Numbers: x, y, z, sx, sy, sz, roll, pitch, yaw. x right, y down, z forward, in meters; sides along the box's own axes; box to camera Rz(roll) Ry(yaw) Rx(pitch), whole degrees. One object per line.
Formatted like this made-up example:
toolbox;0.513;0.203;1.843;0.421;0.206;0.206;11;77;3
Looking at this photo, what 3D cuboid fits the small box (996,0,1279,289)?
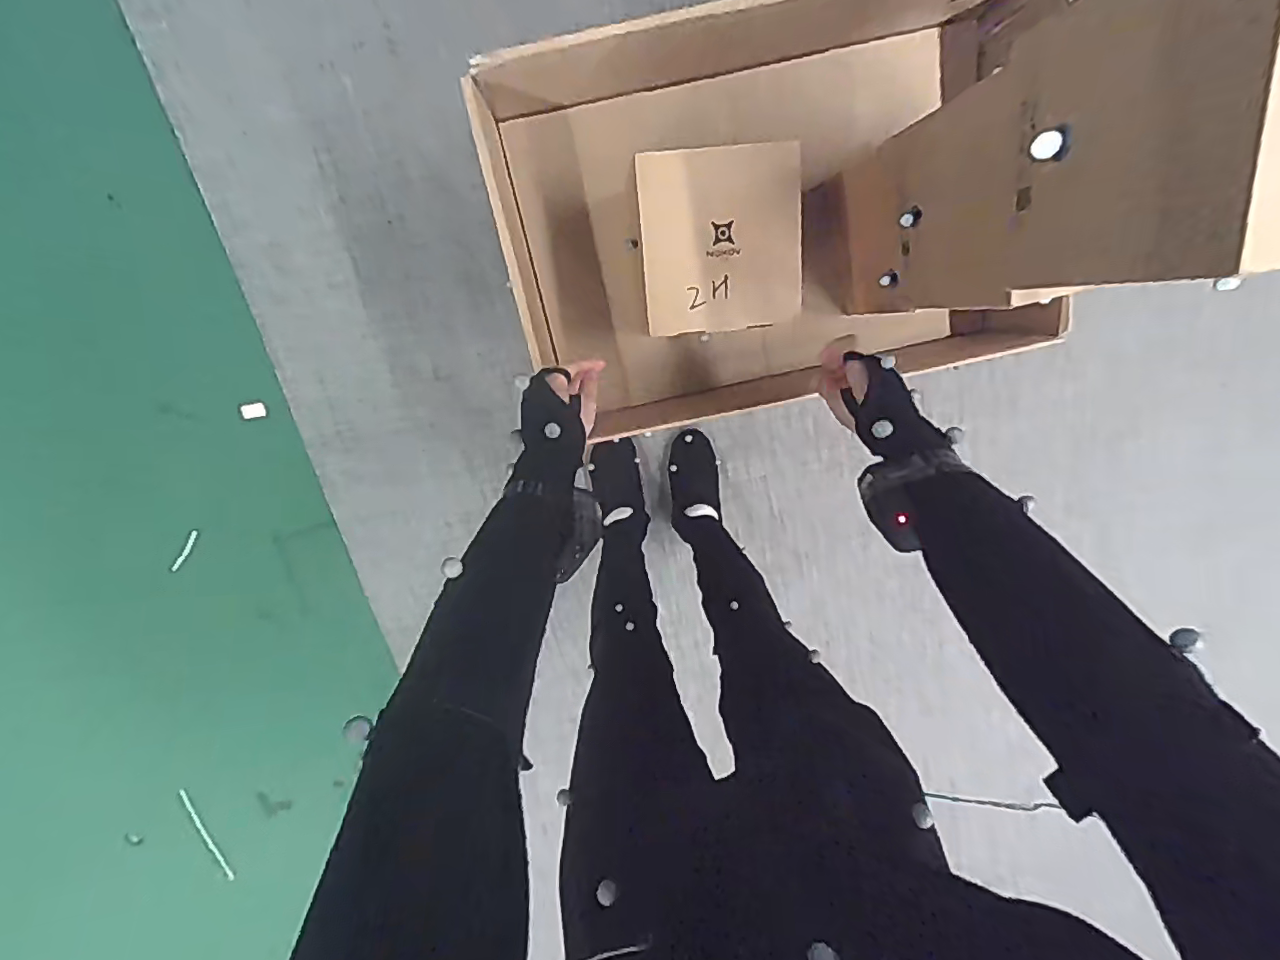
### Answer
small box;0.351;-0.210;0.314;0.179;0.176;0.168;-9;107;0
